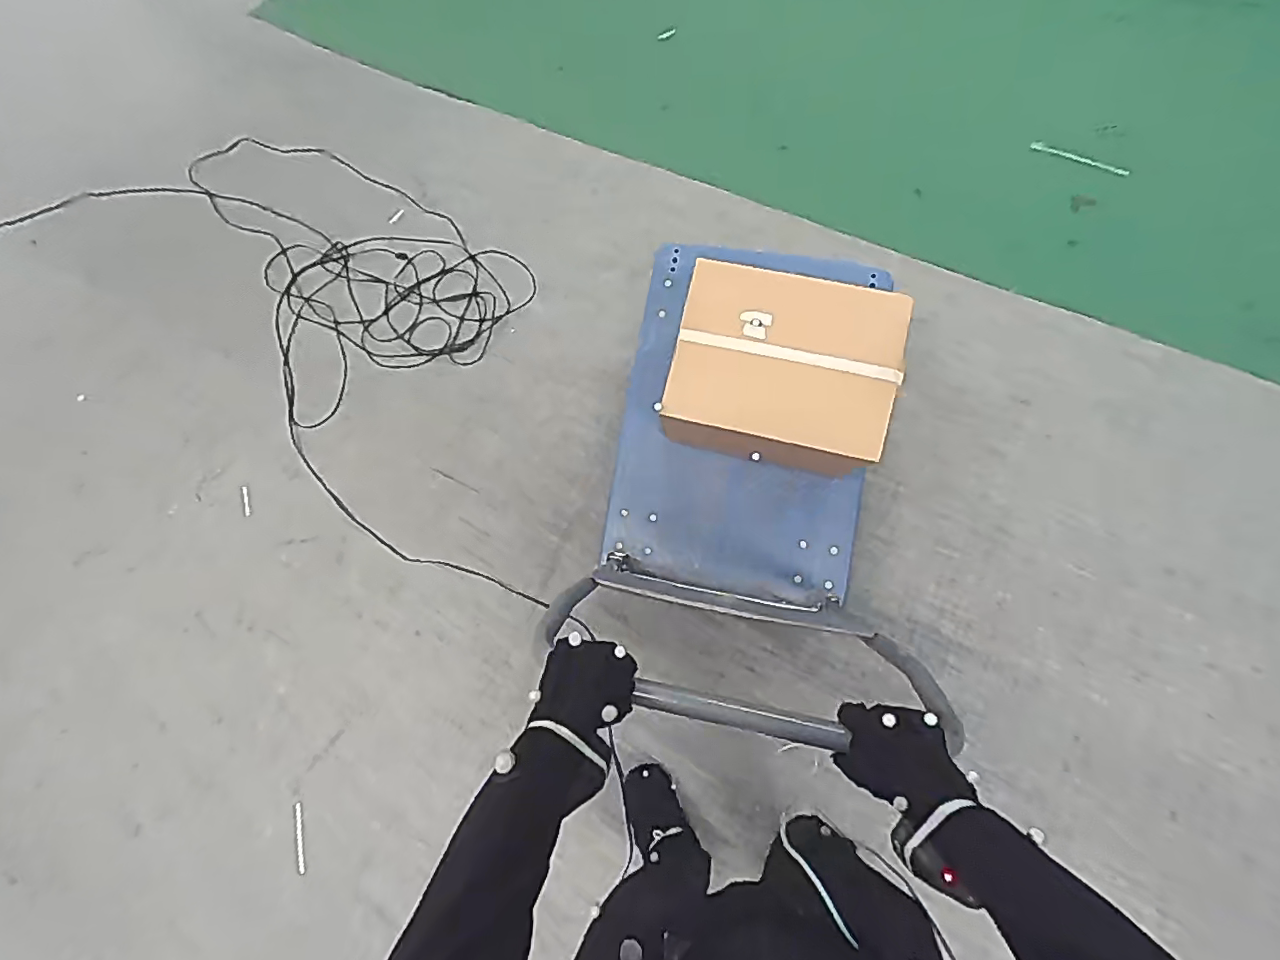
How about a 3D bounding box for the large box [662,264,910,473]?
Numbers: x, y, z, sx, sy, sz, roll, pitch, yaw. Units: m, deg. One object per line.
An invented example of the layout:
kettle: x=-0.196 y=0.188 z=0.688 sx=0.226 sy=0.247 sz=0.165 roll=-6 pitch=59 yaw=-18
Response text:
large box: x=0.284 y=-0.210 z=1.135 sx=0.408 sy=0.320 sz=0.320 roll=13 pitch=86 yaw=8
